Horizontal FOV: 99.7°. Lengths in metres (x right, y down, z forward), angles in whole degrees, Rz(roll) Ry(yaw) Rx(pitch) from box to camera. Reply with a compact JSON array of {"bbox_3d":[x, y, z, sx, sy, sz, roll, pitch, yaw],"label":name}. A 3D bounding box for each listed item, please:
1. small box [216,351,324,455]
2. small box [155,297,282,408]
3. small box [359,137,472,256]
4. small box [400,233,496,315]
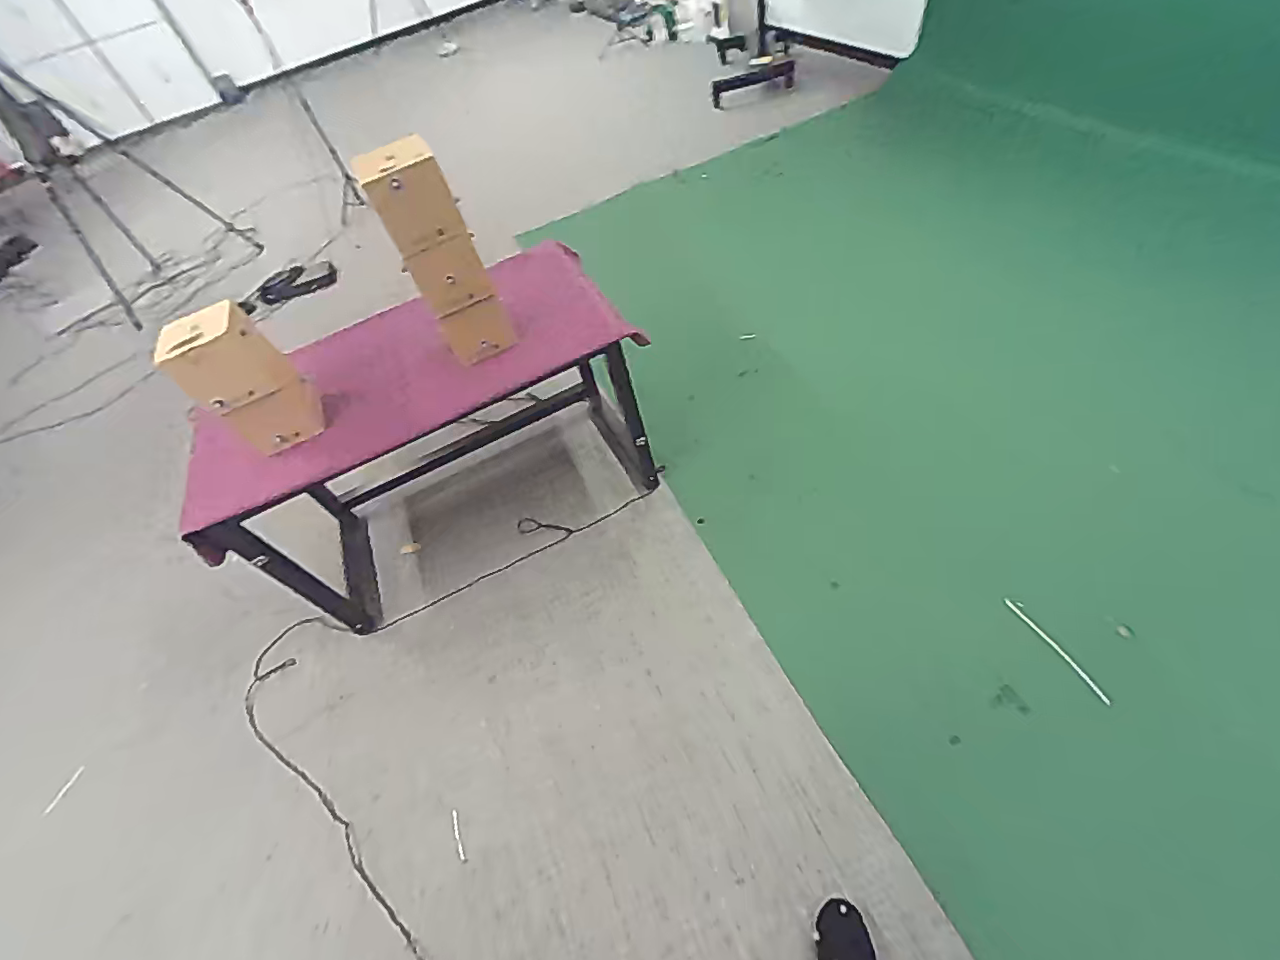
[{"bbox_3d":[-0.952,-0.198,1.405,0.168,0.176,0.179,-26,51,-8],"label":"small box"},{"bbox_3d":[-0.979,-0.291,1.273,0.168,0.176,0.179,-26,50,-7],"label":"small box"},{"bbox_3d":[-0.505,-0.638,1.222,0.168,0.176,0.179,-28,51,-7],"label":"small box"},{"bbox_3d":[-0.478,-0.536,1.348,0.168,0.176,0.179,-25,51,-7],"label":"small box"}]
